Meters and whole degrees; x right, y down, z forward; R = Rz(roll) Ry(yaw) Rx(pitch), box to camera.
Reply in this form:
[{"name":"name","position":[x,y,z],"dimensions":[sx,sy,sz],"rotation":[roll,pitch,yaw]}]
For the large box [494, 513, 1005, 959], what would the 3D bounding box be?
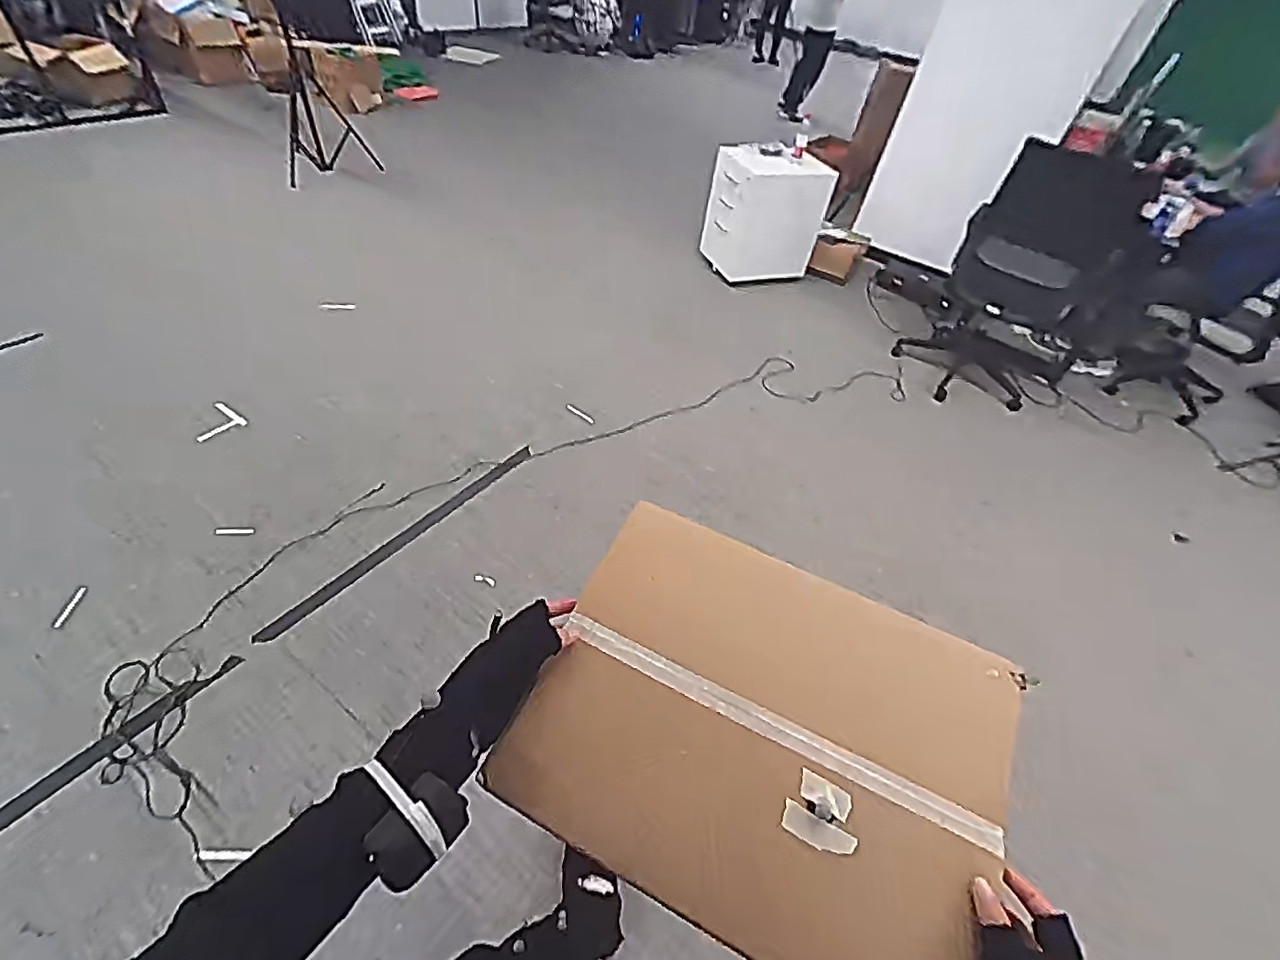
[{"name":"large box","position":[0.110,0.303,0.624],"dimensions":[0.408,0.320,0.320],"rotation":[24,61,14]}]
